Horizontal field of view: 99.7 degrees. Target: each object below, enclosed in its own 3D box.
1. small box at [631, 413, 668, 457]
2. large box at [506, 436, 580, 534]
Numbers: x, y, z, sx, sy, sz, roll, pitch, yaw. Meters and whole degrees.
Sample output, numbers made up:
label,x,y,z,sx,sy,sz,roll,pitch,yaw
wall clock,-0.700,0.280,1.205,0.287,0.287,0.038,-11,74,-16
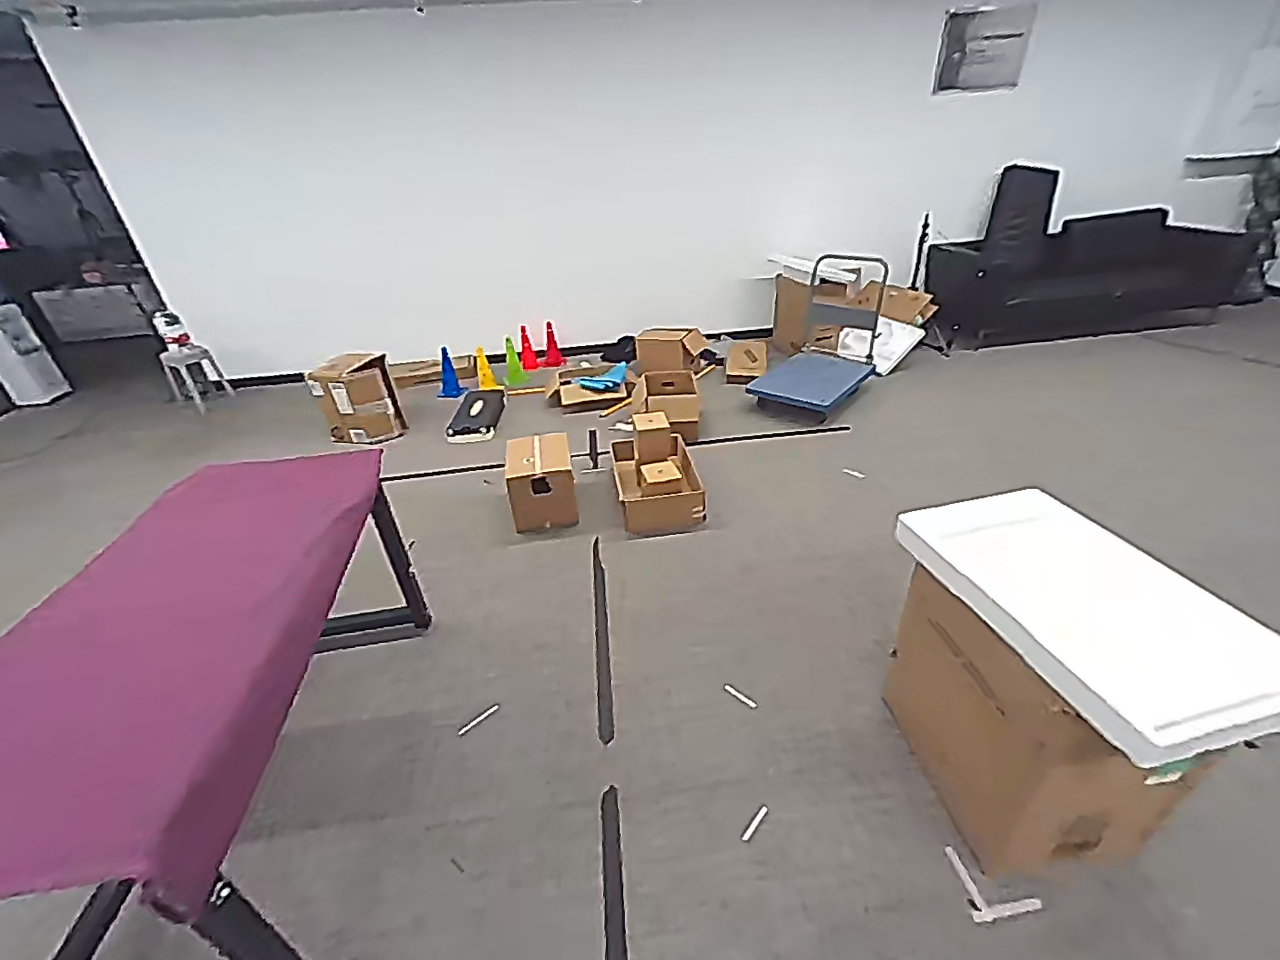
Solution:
label,x,y,z,sx,sy,sz,roll,pitch,yaw
small box,0.051,-0.226,2.785,0.168,0.176,0.179,-6,33,-7
large box,-0.491,0.016,2.729,0.320,0.320,0.408,-9,33,-7
